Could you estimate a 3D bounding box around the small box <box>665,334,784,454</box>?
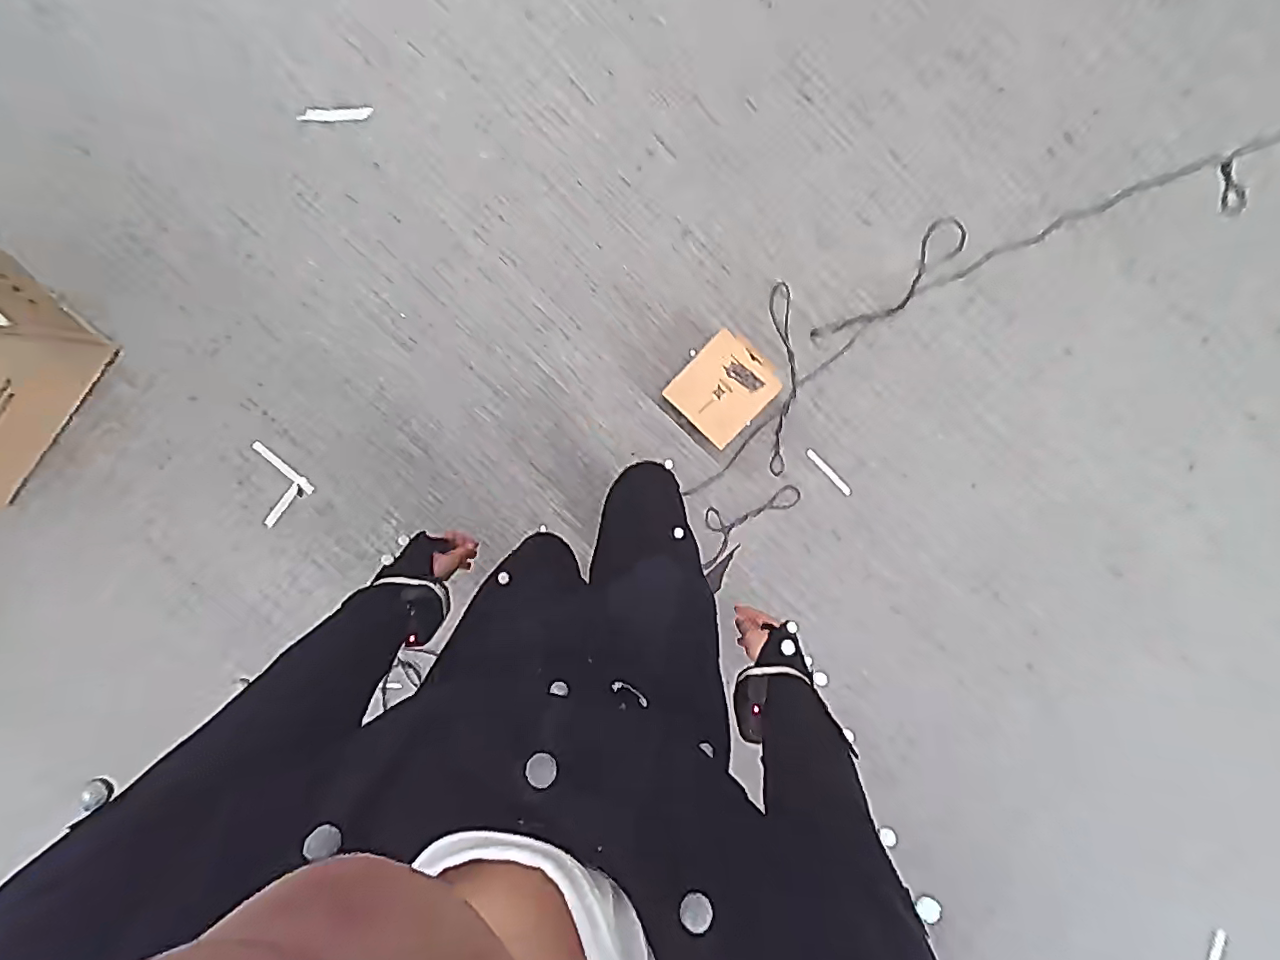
[{"bbox_3d":[0.165,-0.178,1.125,0.168,0.176,0.179,44,99,-4],"label":"small box"}]
